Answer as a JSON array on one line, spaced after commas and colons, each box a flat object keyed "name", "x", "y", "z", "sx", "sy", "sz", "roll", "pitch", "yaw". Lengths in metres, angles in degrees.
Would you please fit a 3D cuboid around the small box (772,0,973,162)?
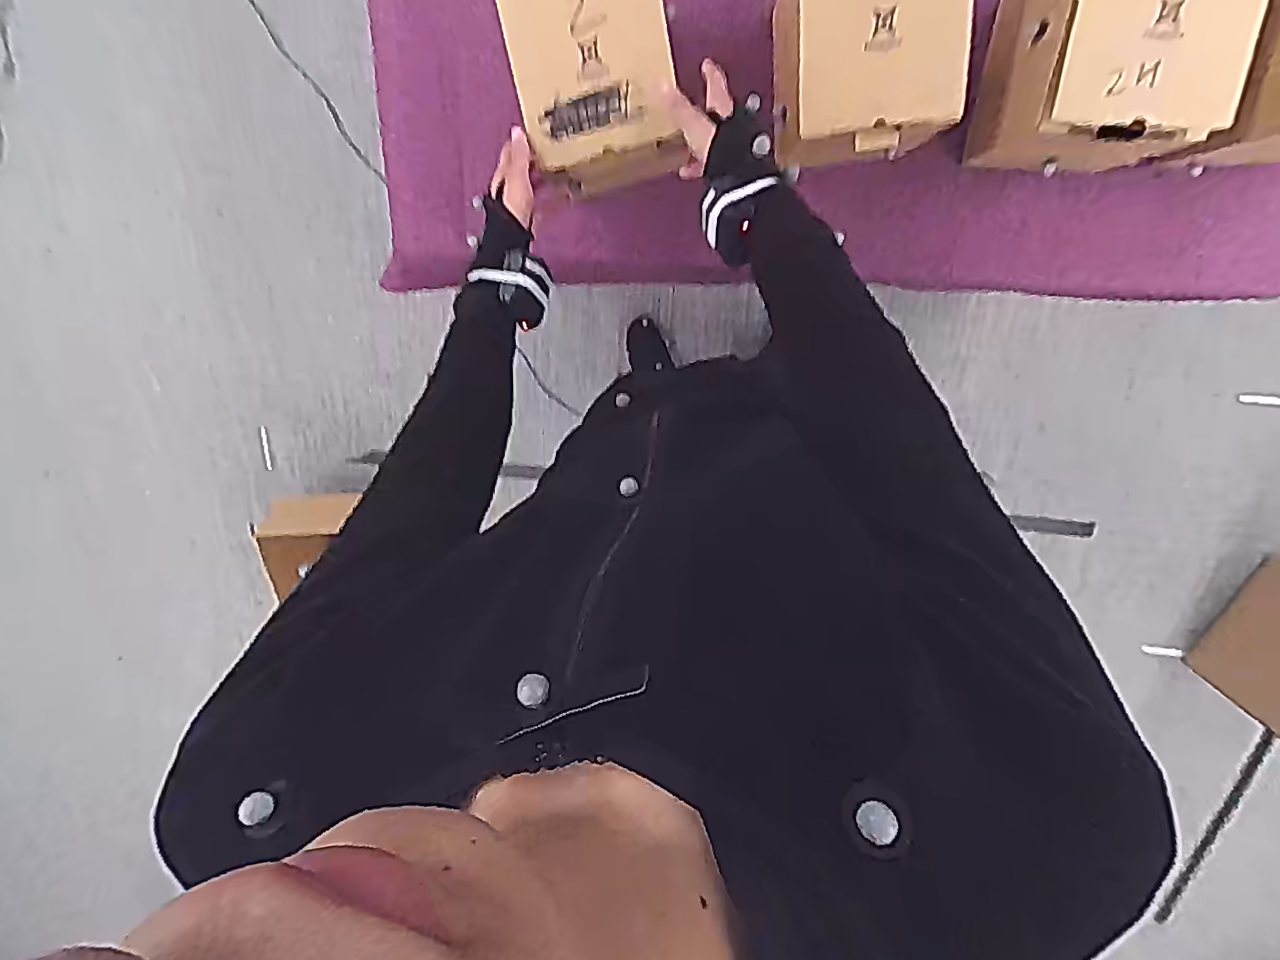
[{"name": "small box", "x": 0.244, "y": -0.470, "z": 0.602, "sx": 0.168, "sy": 0.176, "sz": 0.179, "roll": -4, "pitch": 109, "yaw": 6}]

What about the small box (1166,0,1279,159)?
[{"name": "small box", "x": 0.710, "y": -0.450, "z": 0.565, "sx": 0.168, "sy": 0.176, "sz": 0.179, "roll": 0, "pitch": 109, "yaw": 5}]

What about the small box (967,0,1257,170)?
[{"name": "small box", "x": 0.490, "y": -0.455, "z": 0.583, "sx": 0.168, "sy": 0.176, "sz": 0.179, "roll": 6, "pitch": 110, "yaw": 4}]
